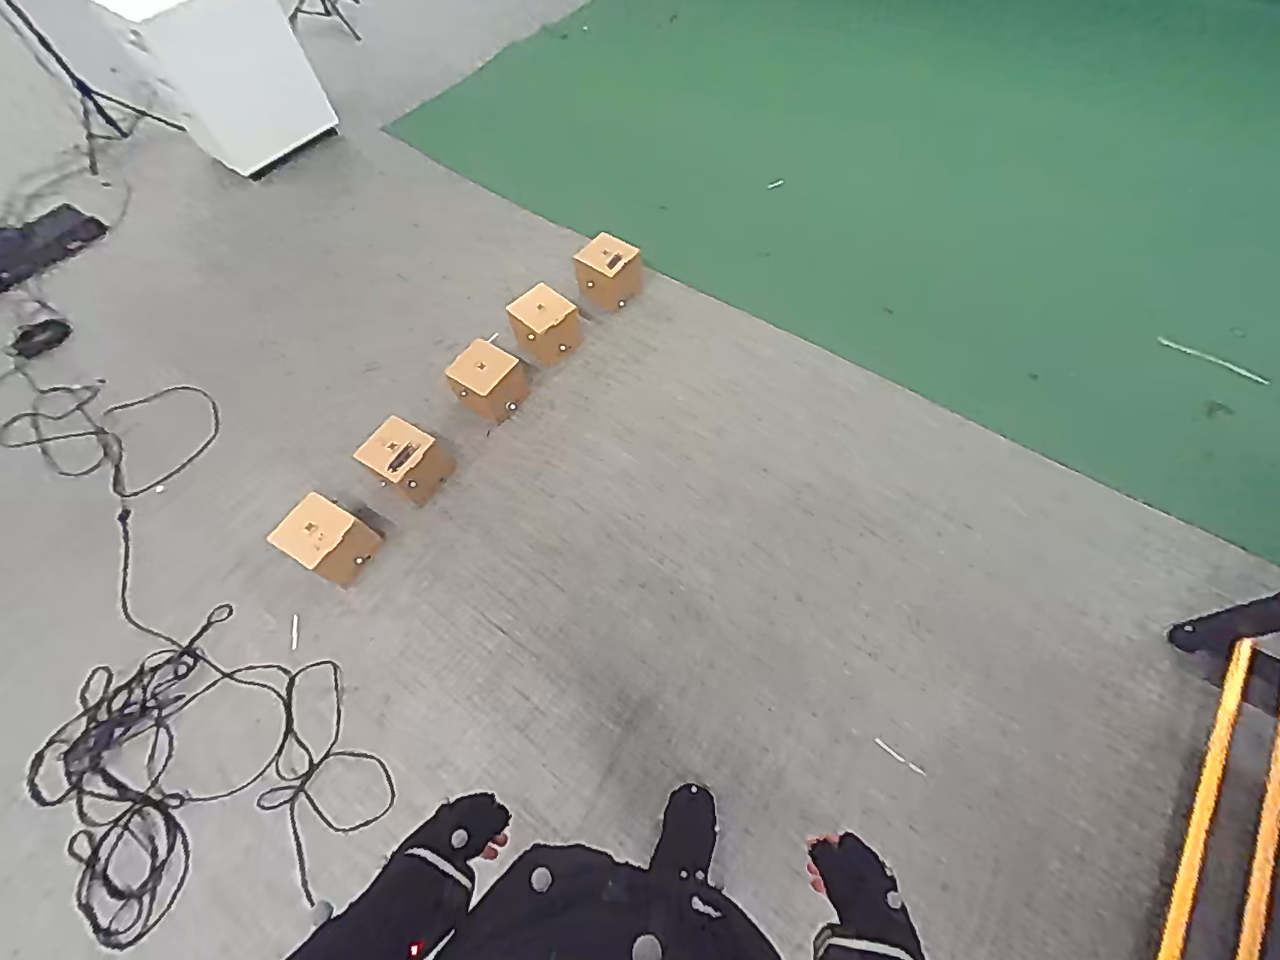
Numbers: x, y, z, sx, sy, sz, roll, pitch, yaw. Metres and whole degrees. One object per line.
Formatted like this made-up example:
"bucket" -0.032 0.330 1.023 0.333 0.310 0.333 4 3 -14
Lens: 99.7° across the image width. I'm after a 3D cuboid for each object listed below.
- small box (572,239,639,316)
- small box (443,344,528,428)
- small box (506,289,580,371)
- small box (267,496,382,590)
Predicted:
"small box" -0.117 -0.720 1.942 0.179 0.176 0.168 34 67 20
"small box" -0.484 -0.294 1.722 0.179 0.176 0.168 30 68 16
"small box" -0.323 -0.503 1.831 0.179 0.176 0.168 39 69 20
"small box" -0.853 0.178 1.478 0.179 0.176 0.168 27 67 15
